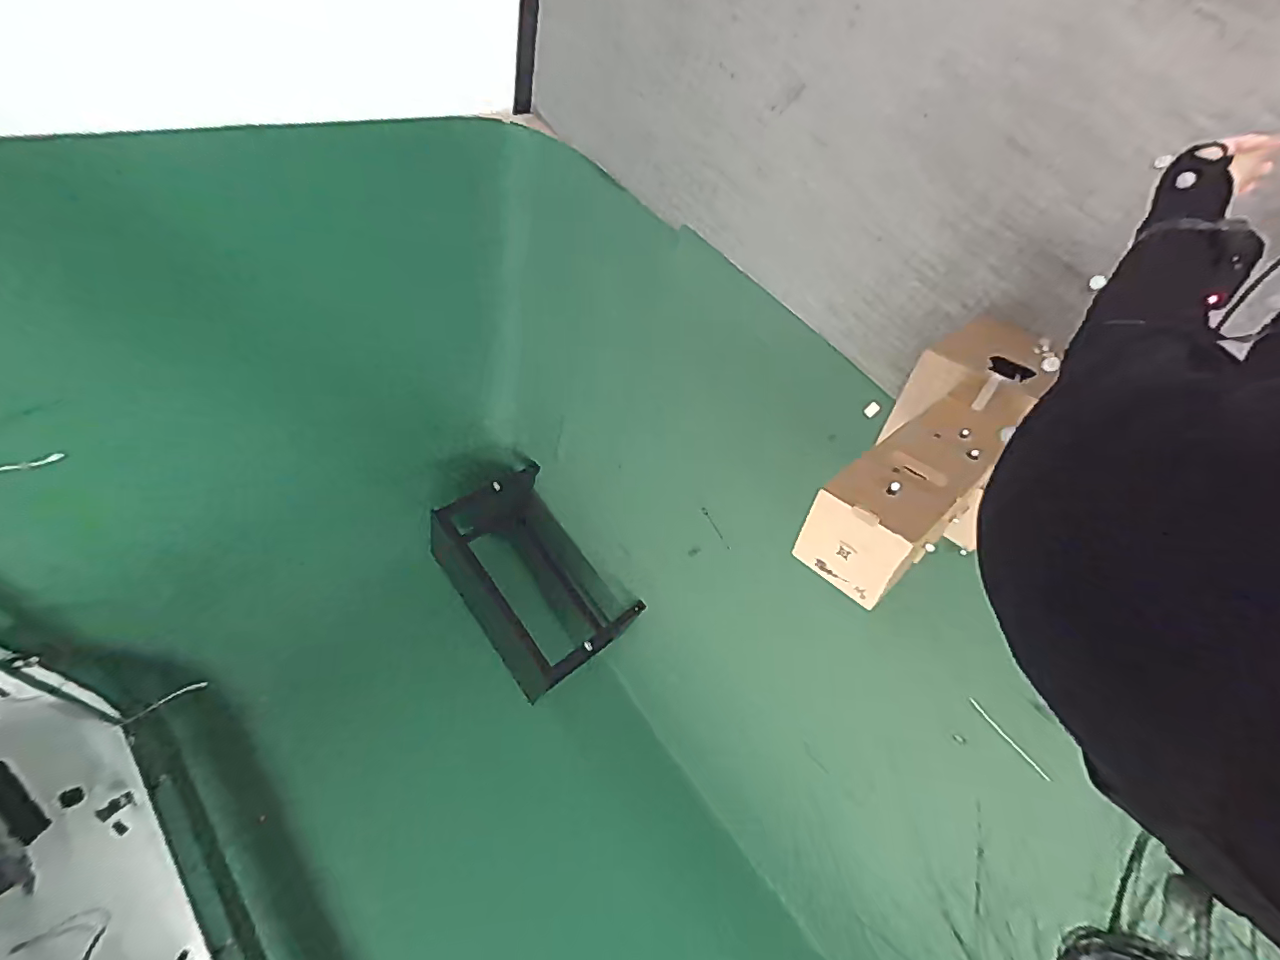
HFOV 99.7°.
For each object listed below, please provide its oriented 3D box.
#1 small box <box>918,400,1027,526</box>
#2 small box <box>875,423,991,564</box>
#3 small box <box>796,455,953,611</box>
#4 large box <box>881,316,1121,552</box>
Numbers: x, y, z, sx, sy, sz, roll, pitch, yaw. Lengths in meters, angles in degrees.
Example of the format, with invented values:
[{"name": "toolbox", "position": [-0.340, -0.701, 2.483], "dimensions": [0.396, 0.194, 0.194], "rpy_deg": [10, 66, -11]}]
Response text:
[{"name": "small box", "position": [0.652, -0.044, 1.119], "dimensions": [0.179, 0.176, 0.168], "rpy_deg": [39, 140, 30]}, {"name": "small box", "position": [0.530, 0.017, 1.028], "dimensions": [0.168, 0.176, 0.179], "rpy_deg": [38, 140, 31]}, {"name": "small box", "position": [0.408, 0.084, 0.941], "dimensions": [0.168, 0.176, 0.179], "rpy_deg": [39, 139, 30]}, {"name": "large box", "position": [0.818, -0.118, 1.288], "dimensions": [0.320, 0.320, 0.408], "rpy_deg": [40, 142, 31]}]
